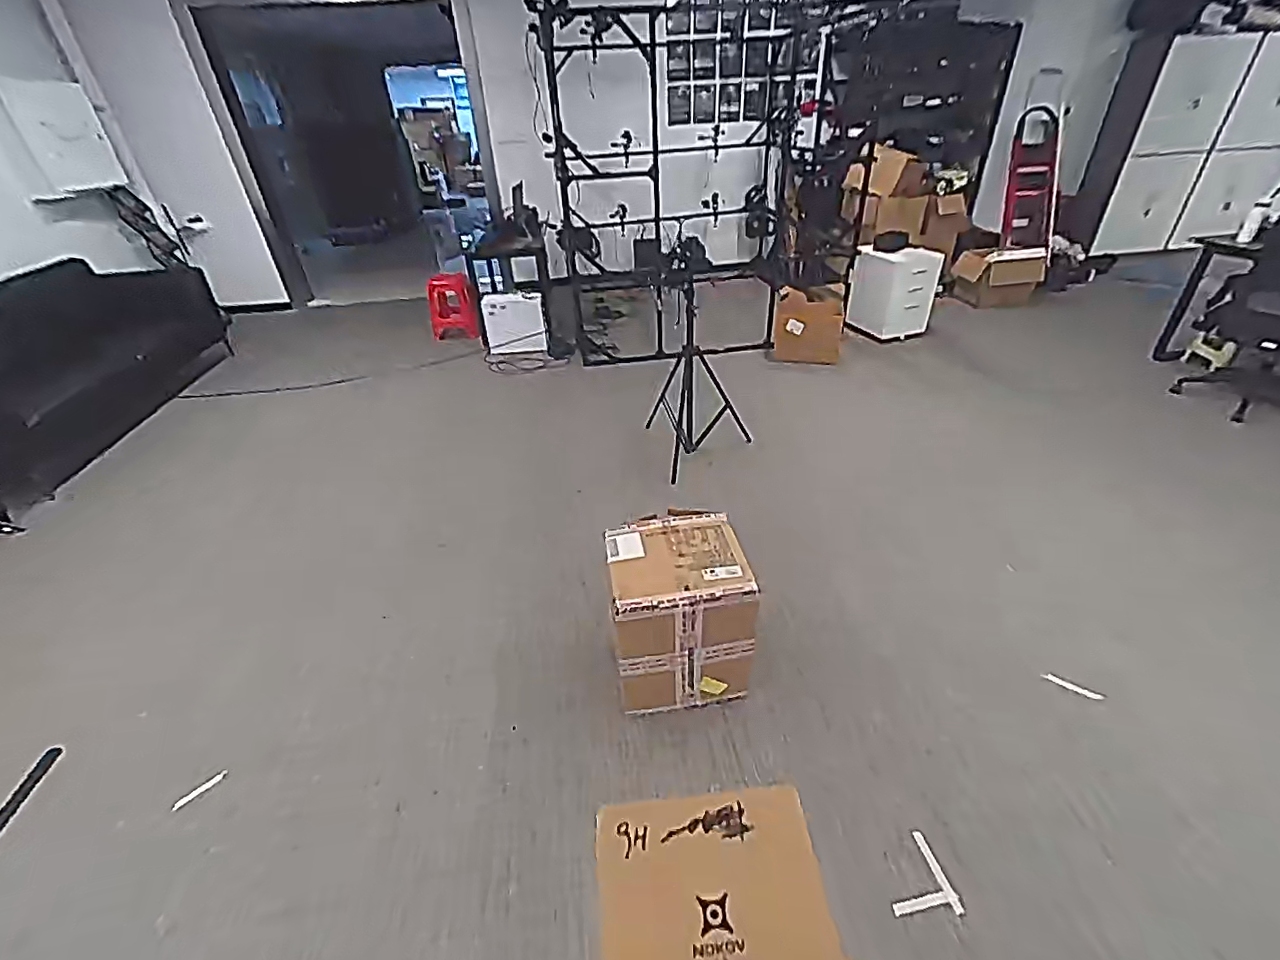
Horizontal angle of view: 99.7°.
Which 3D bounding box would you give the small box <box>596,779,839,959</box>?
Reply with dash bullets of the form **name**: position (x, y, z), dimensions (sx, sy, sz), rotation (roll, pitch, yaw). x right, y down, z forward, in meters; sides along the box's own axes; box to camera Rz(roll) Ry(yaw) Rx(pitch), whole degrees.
- **small box**: position (0.057, 0.369, 0.433), dimensions (0.168, 0.176, 0.179), rotation (-6, 43, -1)
